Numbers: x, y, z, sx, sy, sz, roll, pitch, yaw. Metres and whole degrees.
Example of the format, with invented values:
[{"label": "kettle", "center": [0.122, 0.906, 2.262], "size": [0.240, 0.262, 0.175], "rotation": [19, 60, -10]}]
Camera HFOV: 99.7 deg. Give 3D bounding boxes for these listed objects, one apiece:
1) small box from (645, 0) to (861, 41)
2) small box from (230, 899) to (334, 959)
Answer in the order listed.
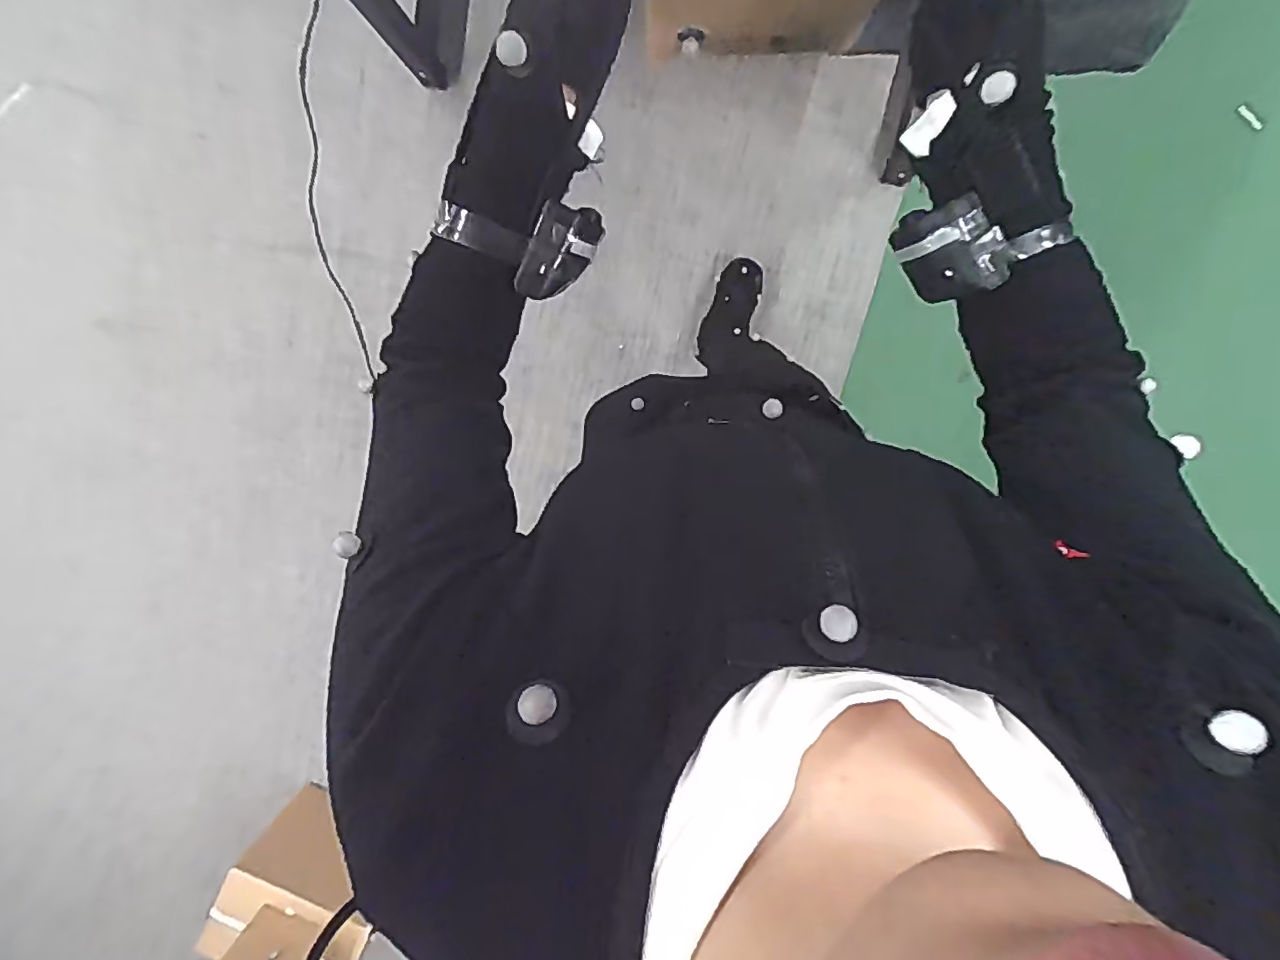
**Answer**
[{"label": "small box", "center": [0.083, -0.424, 0.351], "size": [0.168, 0.176, 0.179], "rotation": [-1, 100, 2]}, {"label": "small box", "center": [-0.909, 1.210, 1.358], "size": [0.179, 0.176, 0.168], "rotation": [21, 101, -1]}]
